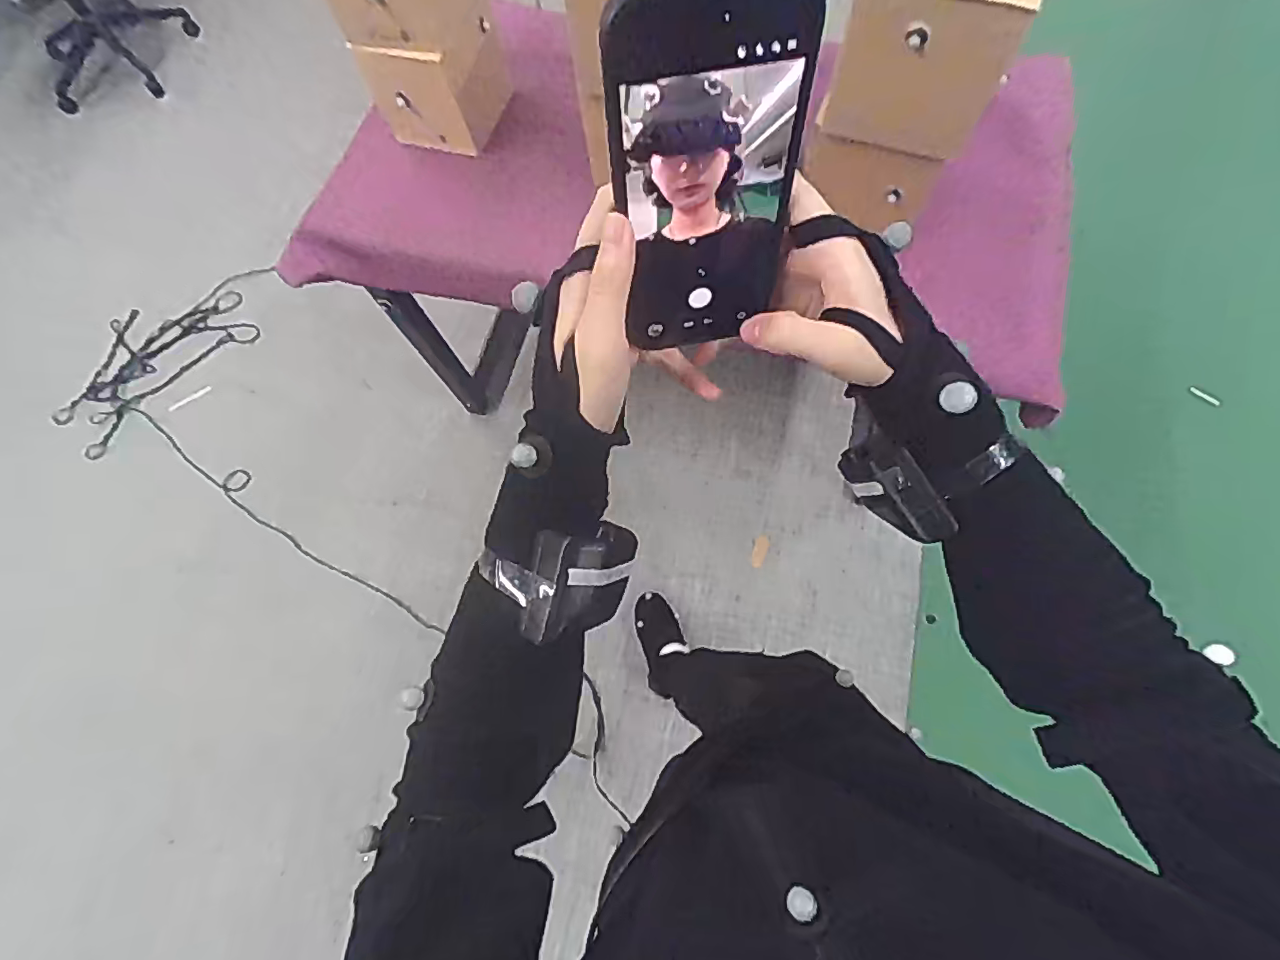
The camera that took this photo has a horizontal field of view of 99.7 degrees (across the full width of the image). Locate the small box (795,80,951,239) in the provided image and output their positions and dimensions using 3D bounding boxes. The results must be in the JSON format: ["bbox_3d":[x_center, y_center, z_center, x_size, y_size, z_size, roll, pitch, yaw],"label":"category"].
[{"bbox_3d":[0.346,-0.486,0.789,0.179,0.176,0.168,21,73,12],"label":"small box"}]

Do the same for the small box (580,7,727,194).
[{"bbox_3d":[0.026,-0.585,0.848,0.179,0.176,0.168,15,72,10],"label":"small box"}]

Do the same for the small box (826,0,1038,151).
[{"bbox_3d":[0.337,-0.524,0.629,0.179,0.176,0.168,21,73,11],"label":"small box"}]

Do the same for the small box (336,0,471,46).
[{"bbox_3d":[-0.351,-0.764,0.769,0.168,0.176,0.179,11,73,8],"label":"small box"}]

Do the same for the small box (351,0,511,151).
[{"bbox_3d":[-0.340,-0.702,0.921,0.168,0.176,0.179,15,73,10],"label":"small box"}]
